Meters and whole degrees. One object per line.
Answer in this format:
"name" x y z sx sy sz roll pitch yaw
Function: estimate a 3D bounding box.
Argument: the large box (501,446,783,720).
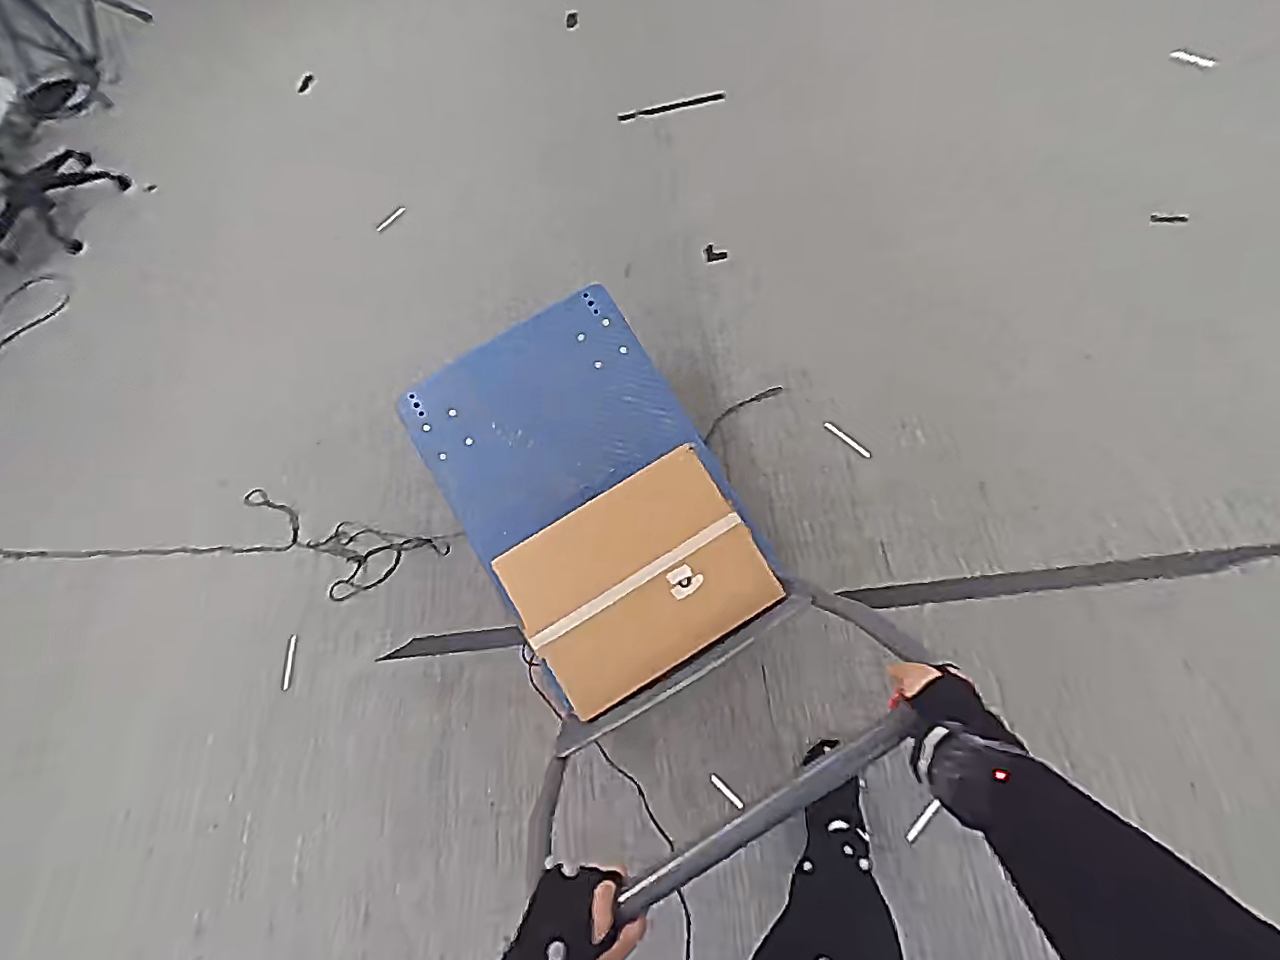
"large box" 0.002 0.192 1.079 0.408 0.320 0.320 -32 84 -4
